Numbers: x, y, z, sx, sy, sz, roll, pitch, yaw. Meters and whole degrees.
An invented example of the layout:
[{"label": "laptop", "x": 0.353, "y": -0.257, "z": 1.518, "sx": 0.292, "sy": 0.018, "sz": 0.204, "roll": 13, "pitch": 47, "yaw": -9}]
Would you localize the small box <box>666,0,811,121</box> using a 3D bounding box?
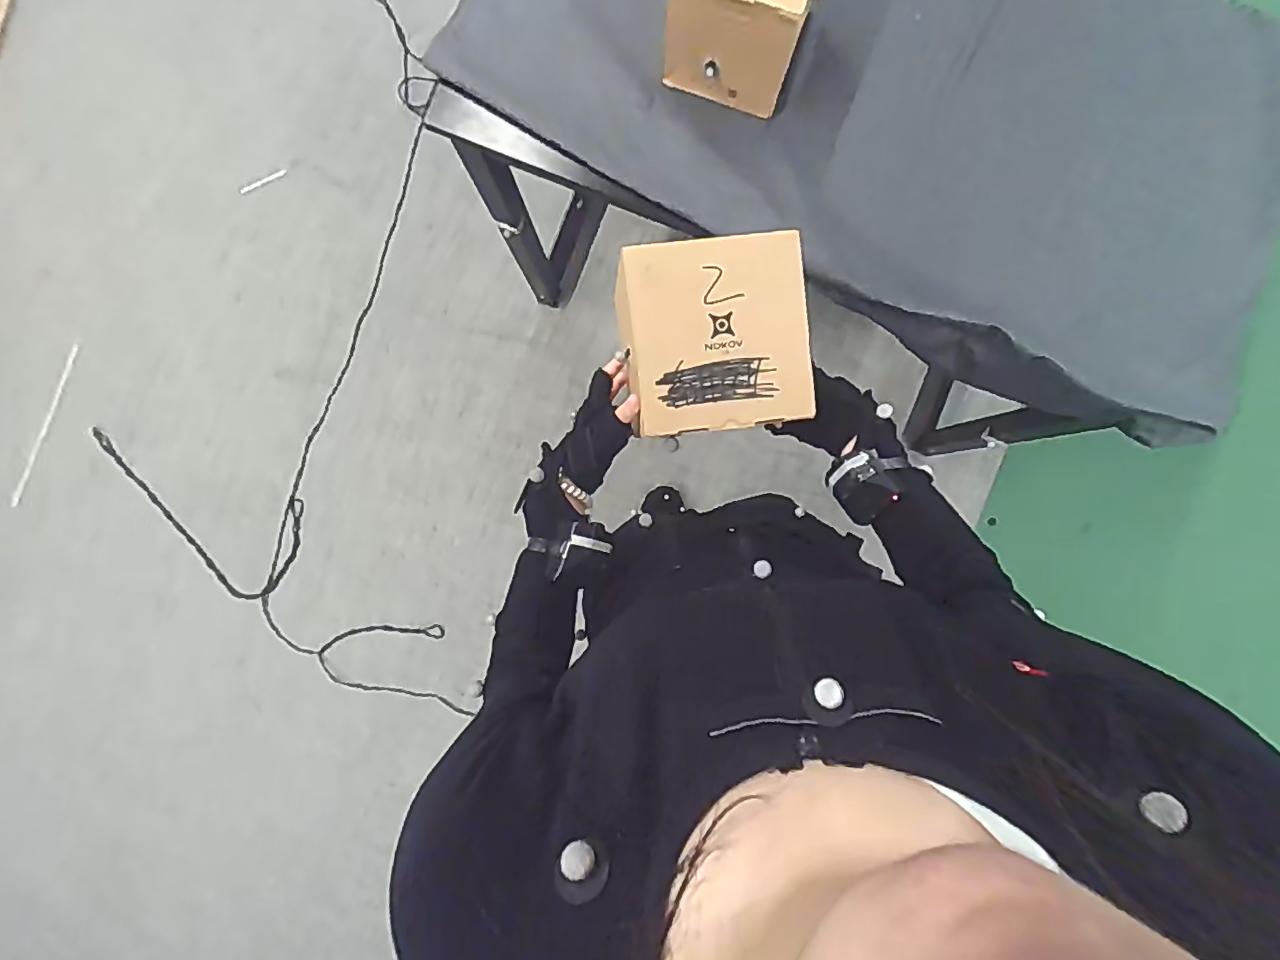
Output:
[{"label": "small box", "x": 0.138, "y": -0.636, "z": 0.719, "sx": 0.168, "sy": 0.176, "sz": 0.179, "roll": 19, "pitch": 88, "yaw": 0}]
